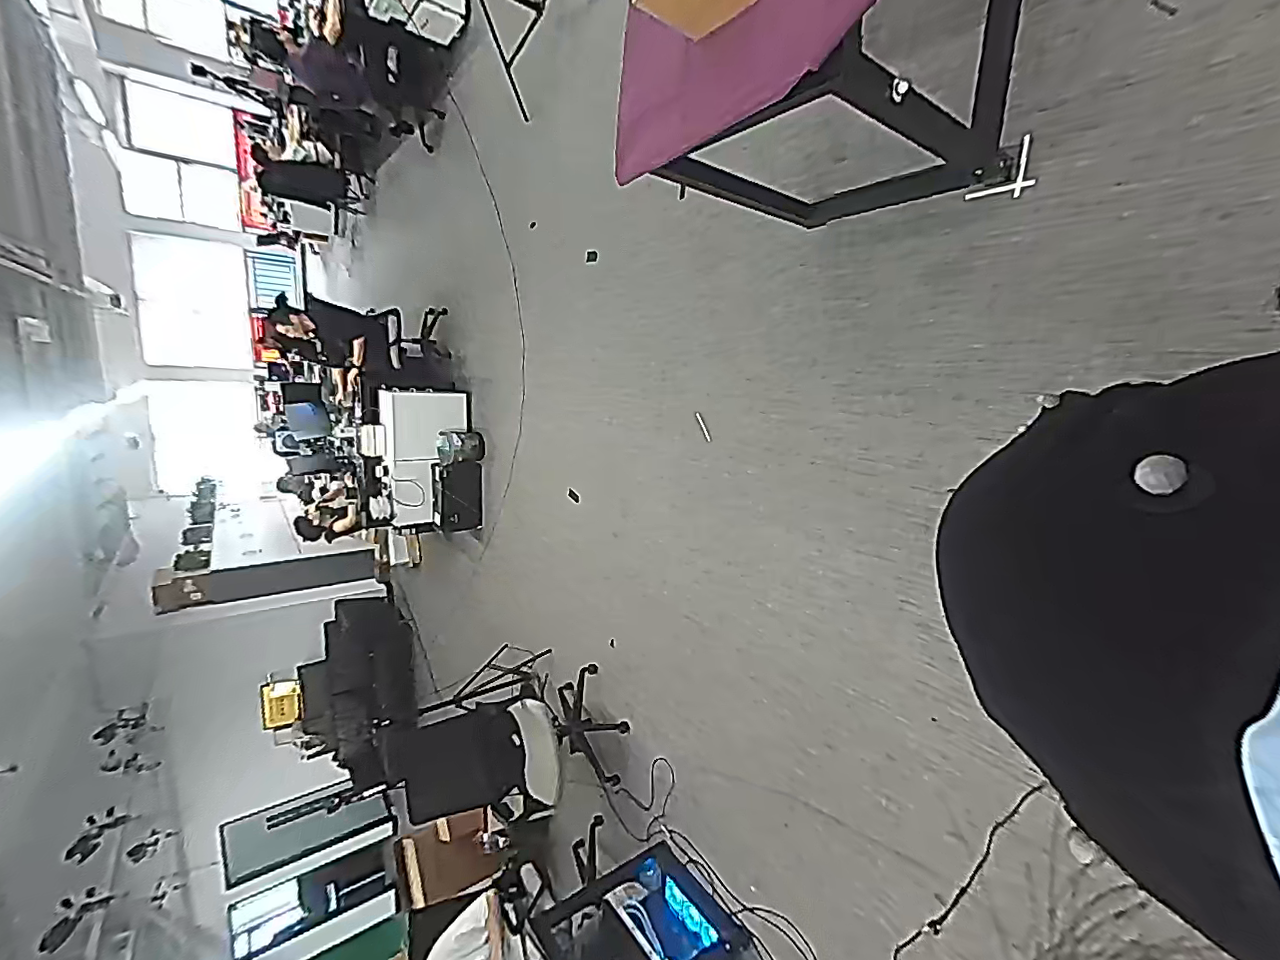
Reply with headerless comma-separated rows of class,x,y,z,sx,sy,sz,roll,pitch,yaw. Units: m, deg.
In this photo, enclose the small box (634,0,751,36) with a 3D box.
small box,0.108,-0.961,0.978,0.179,0.176,0.168,14,105,51
